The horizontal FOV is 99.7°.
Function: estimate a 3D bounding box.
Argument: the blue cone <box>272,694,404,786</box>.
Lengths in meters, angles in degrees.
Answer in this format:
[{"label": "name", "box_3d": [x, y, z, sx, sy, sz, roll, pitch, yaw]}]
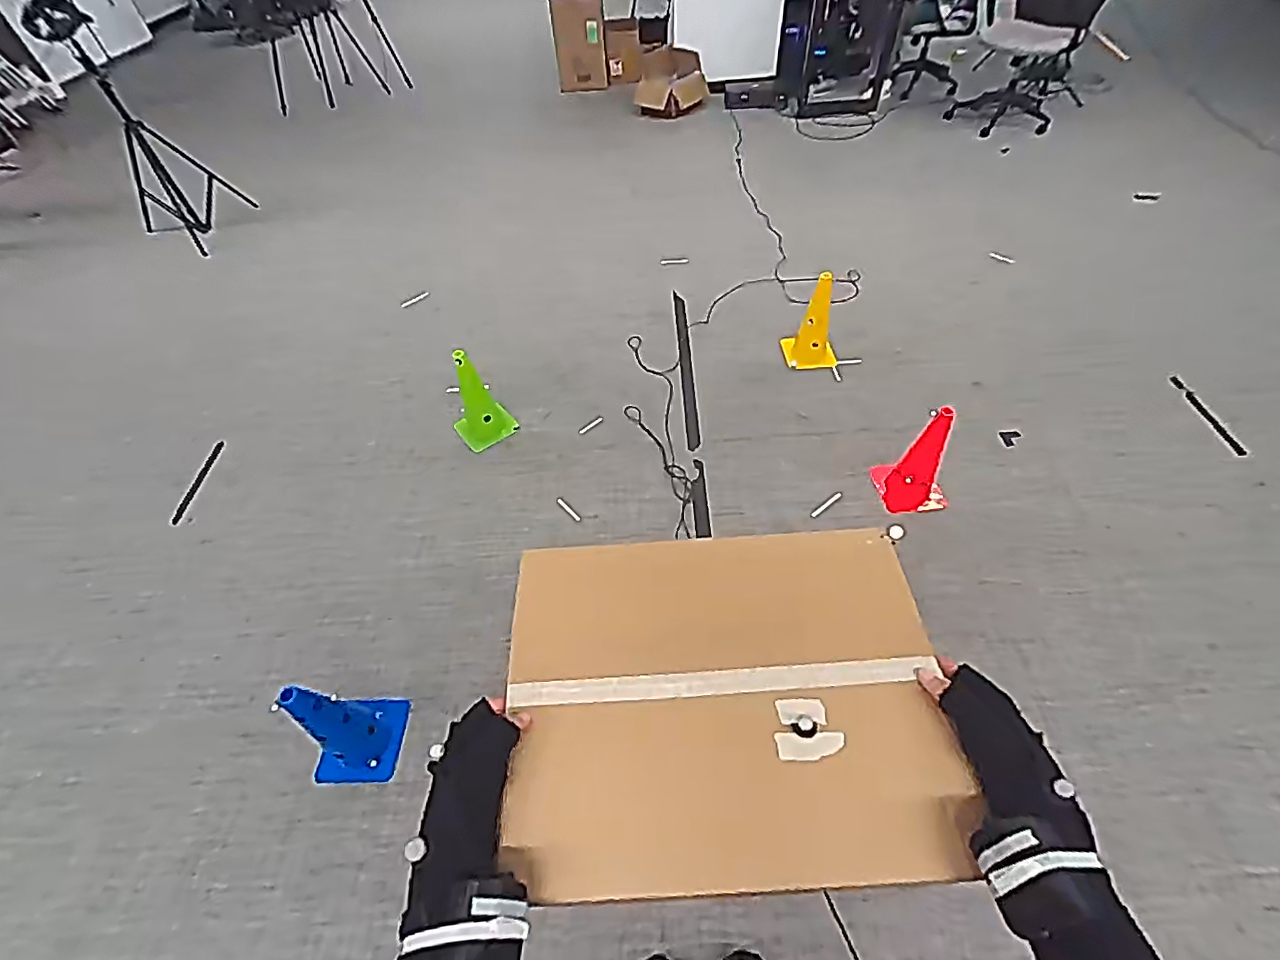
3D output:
[{"label": "blue cone", "box_3d": [-0.729, 0.582, 1.274, 0.192, 0.380, 0.193, -2, 51, 4]}]

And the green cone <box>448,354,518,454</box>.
[{"label": "green cone", "box_3d": [-0.611, -0.307, 1.965, 0.202, 0.368, 0.200, -35, 56, -20]}]

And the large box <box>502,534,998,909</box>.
[{"label": "large box", "box_3d": [0.084, 0.287, 0.631, 0.408, 0.320, 0.320, -4, 53, 0]}]

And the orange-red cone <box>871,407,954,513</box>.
[{"label": "orange-red cone", "box_3d": [0.883, -0.084, 1.675, 0.198, 0.360, 0.199, -5, 49, -1]}]
